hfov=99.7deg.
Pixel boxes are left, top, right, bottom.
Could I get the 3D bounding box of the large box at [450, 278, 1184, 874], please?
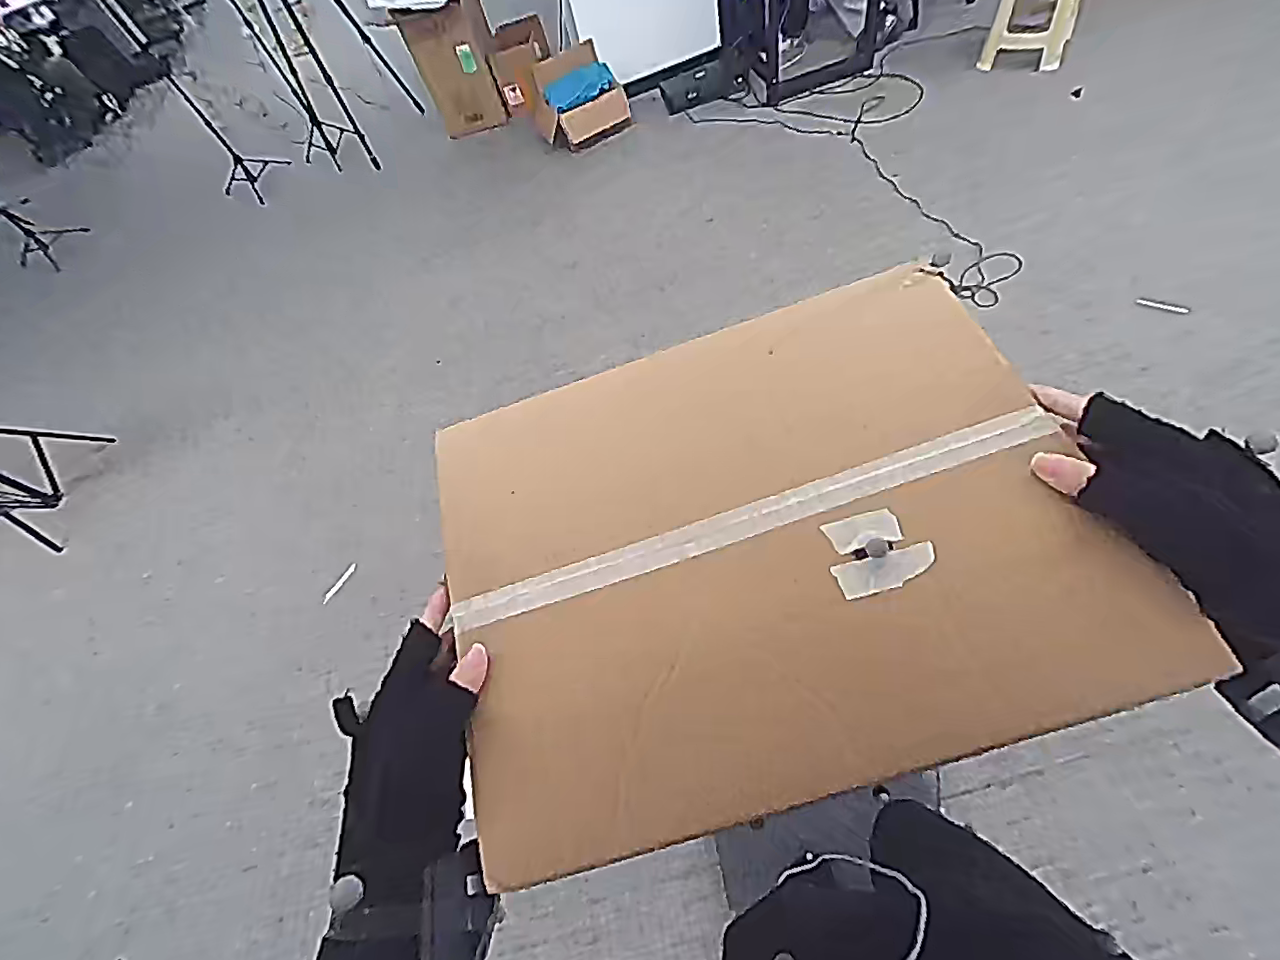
[{"bbox_3d":[0.096,0.096,0.499,0.408,0.320,0.320,-19,63,3],"label":"large box"}]
